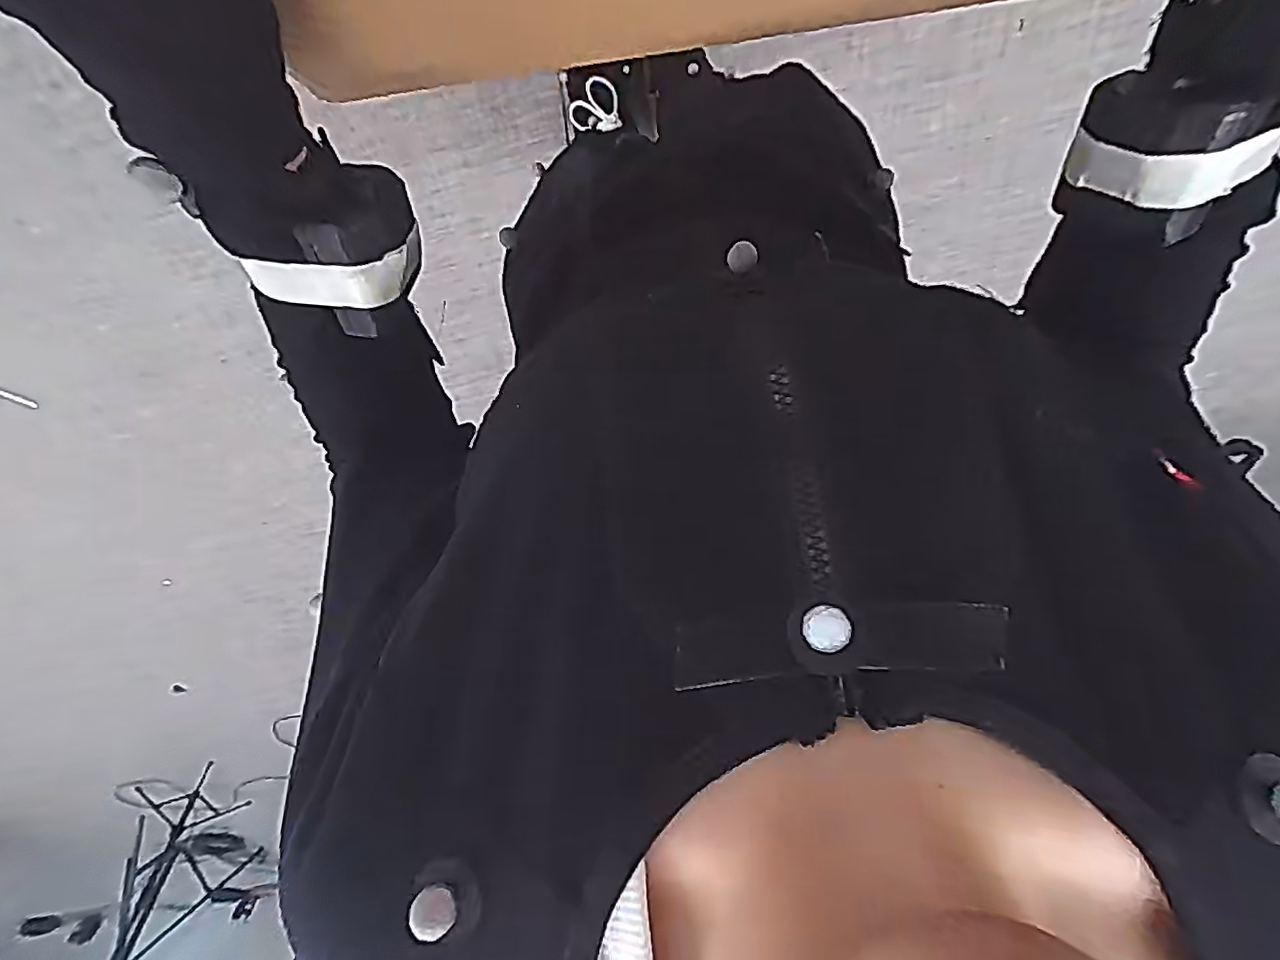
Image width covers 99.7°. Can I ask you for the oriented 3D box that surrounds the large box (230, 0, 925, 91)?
[{"bbox_3d":[0.019,-0.337,0.092,0.408,0.320,0.320,-7,104,2],"label":"large box"}]
